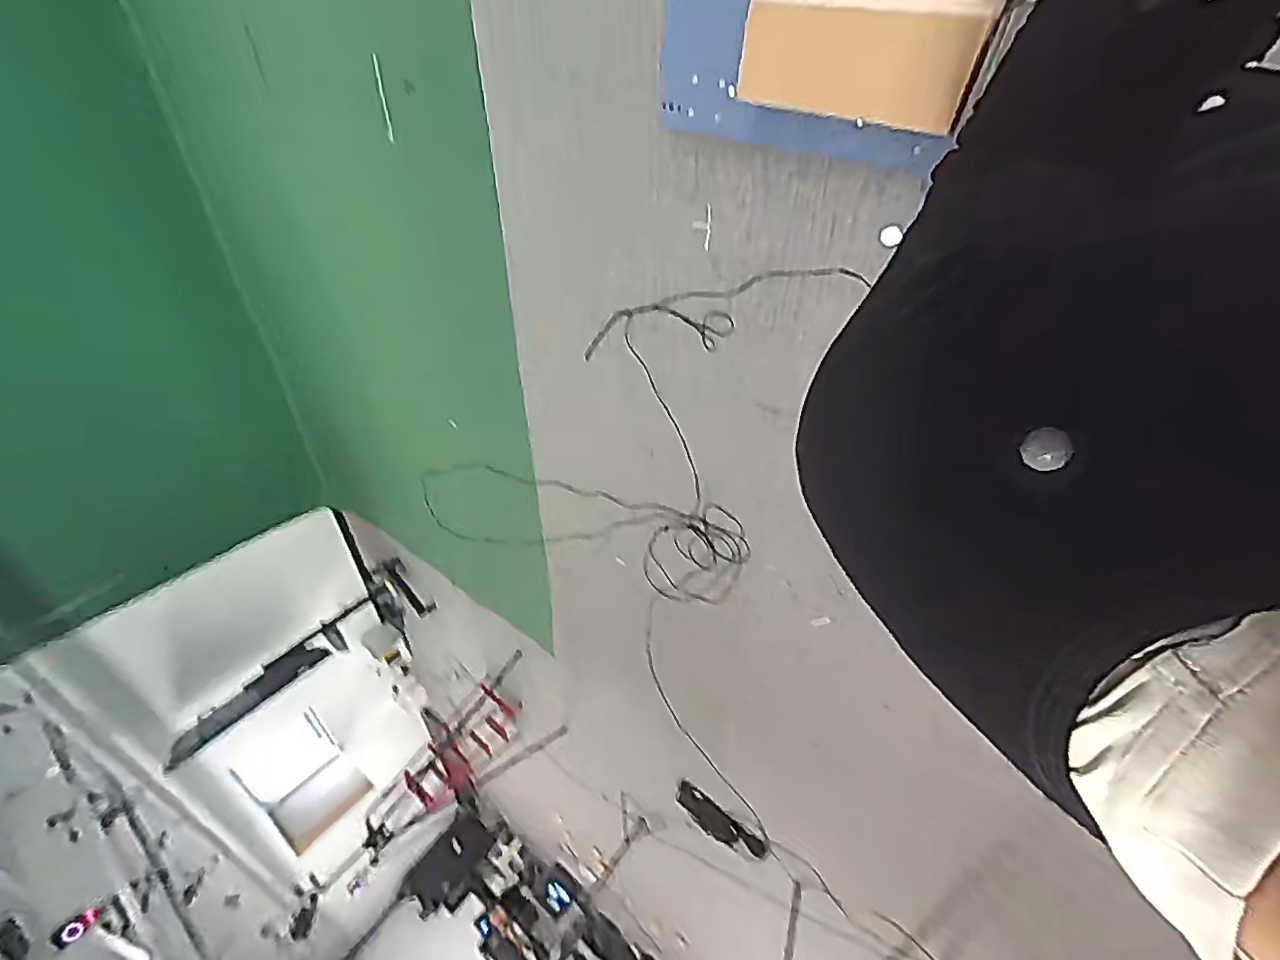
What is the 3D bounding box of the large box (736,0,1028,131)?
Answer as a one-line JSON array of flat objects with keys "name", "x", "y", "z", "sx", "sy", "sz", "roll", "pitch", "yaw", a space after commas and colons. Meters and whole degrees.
[{"name": "large box", "x": 0.445, "y": -0.844, "z": 0.966, "sx": 0.408, "sy": 0.320, "sz": 0.320, "roll": 29, "pitch": 134, "yaw": 24}]
